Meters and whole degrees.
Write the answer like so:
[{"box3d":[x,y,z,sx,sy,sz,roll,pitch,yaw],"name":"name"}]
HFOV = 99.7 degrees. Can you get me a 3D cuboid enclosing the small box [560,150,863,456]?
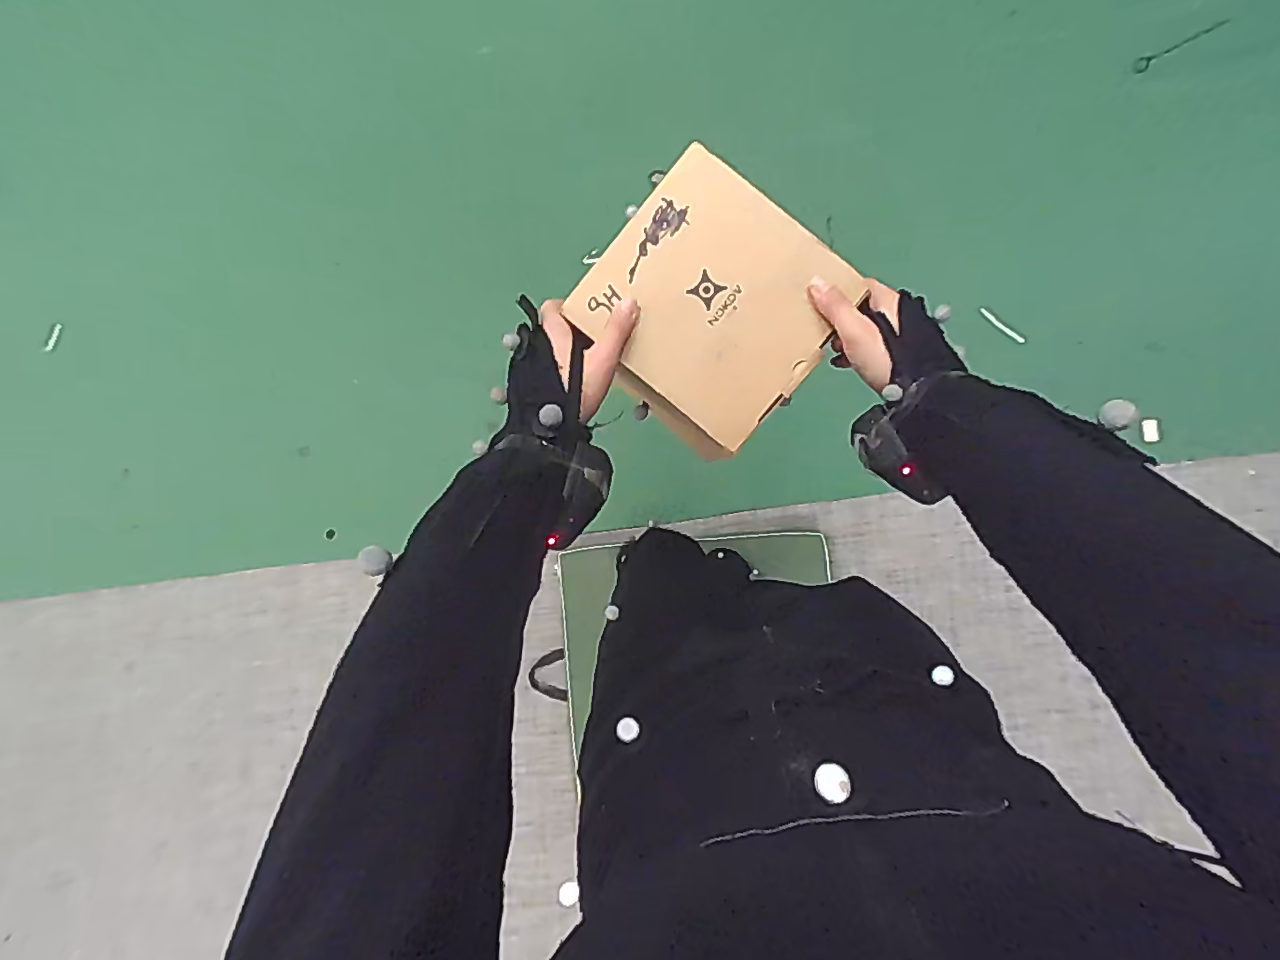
[{"box3d":[0.056,-0.138,0.492,0.179,0.176,0.168,40,91,-1],"name":"small box"}]
